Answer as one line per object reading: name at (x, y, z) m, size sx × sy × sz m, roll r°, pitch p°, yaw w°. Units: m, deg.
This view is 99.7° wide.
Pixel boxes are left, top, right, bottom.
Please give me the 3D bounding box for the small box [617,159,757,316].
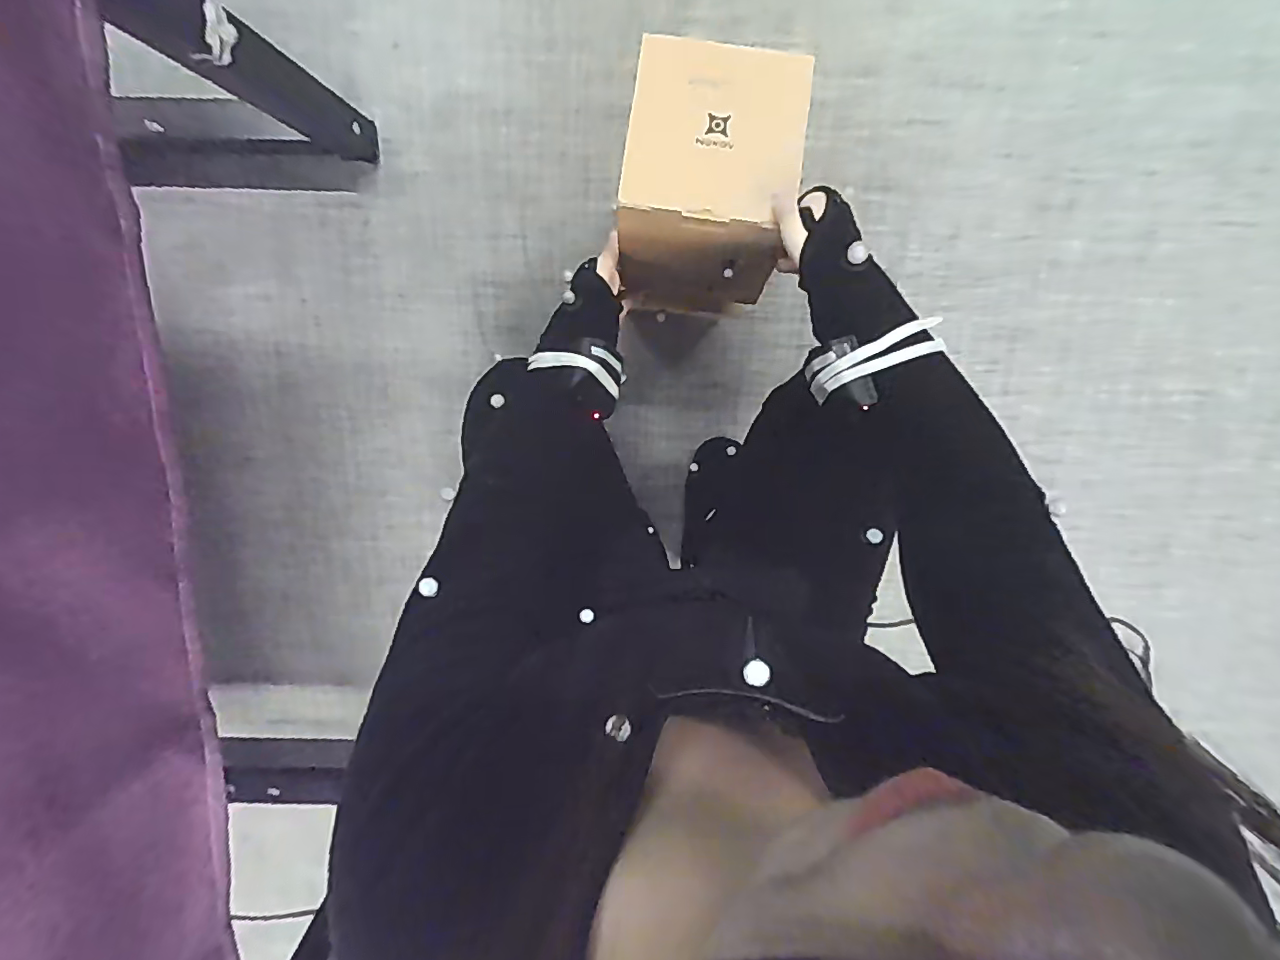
small box at (0.059, -0.331, 0.773) m, size 0.168 × 0.176 × 0.179 m, roll 5°, pitch 105°, yaw -2°
